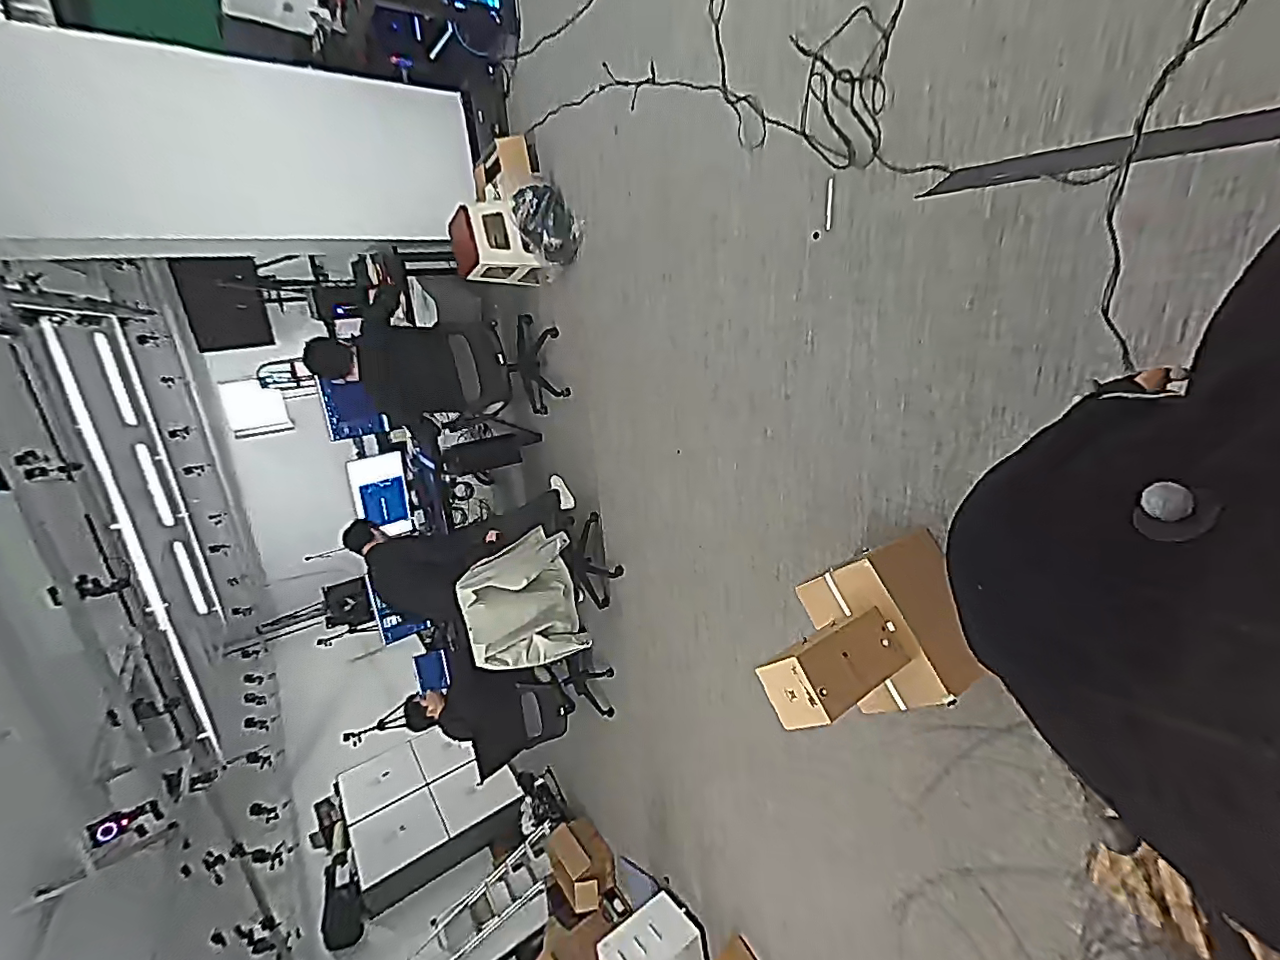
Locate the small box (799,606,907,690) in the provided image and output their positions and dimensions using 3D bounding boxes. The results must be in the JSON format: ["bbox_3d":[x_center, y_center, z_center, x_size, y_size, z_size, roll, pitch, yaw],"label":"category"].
[{"bbox_3d":[0.572,0.461,1.454,0.168,0.176,0.179,63,146,16],"label":"small box"}]

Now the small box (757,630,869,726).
[{"bbox_3d":[0.437,0.501,1.369,0.168,0.176,0.179,63,147,16],"label":"small box"}]
